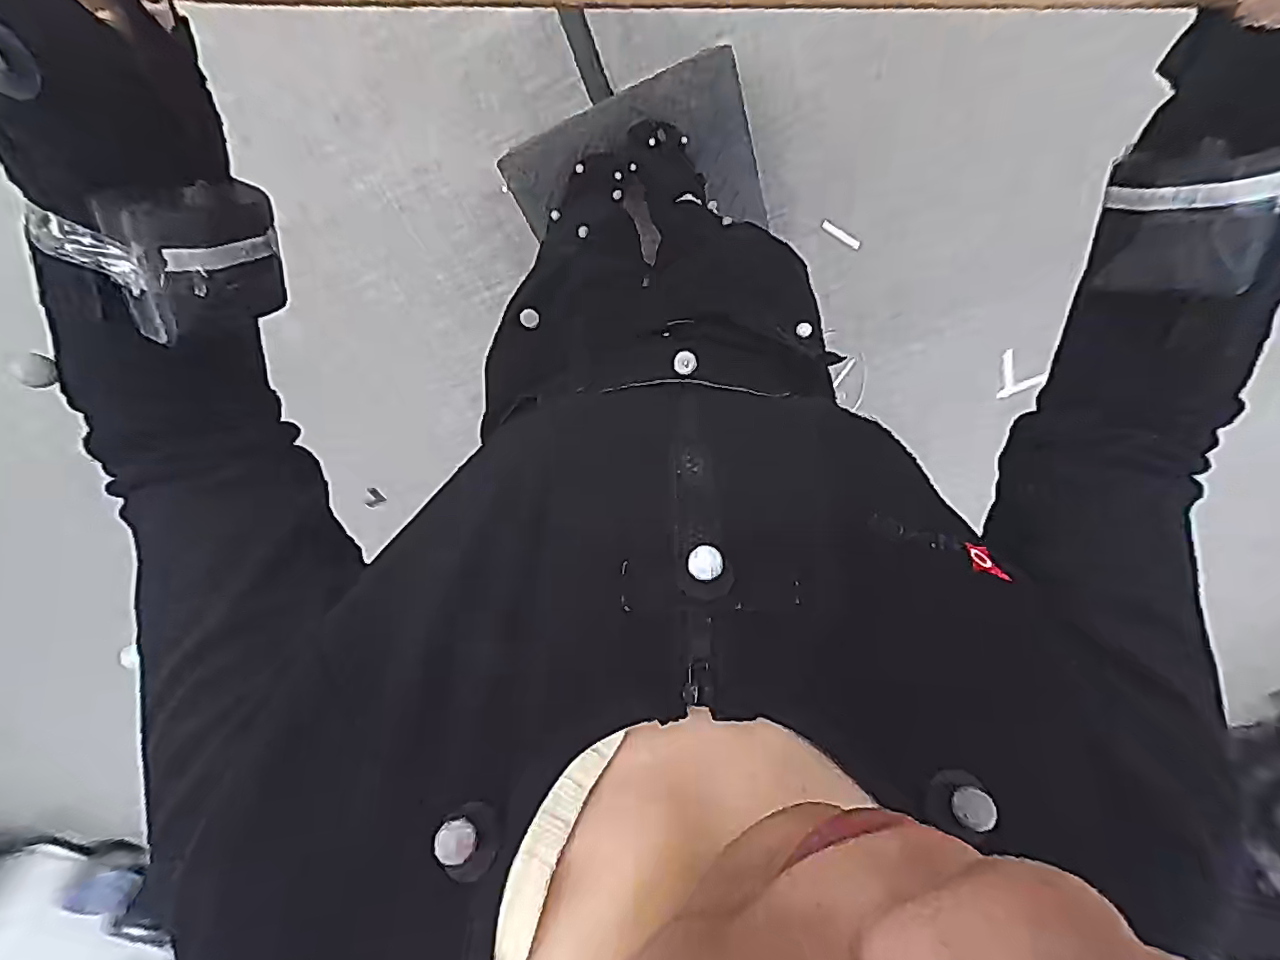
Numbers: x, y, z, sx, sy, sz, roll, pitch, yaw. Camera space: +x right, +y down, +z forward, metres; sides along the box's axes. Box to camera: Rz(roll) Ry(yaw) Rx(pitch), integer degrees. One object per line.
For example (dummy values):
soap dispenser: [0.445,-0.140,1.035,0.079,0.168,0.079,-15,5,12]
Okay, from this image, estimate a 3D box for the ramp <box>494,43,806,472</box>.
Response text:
ramp: [0.114,-0.411,1.368,0.509,0.206,0.991,-22,125,11]
